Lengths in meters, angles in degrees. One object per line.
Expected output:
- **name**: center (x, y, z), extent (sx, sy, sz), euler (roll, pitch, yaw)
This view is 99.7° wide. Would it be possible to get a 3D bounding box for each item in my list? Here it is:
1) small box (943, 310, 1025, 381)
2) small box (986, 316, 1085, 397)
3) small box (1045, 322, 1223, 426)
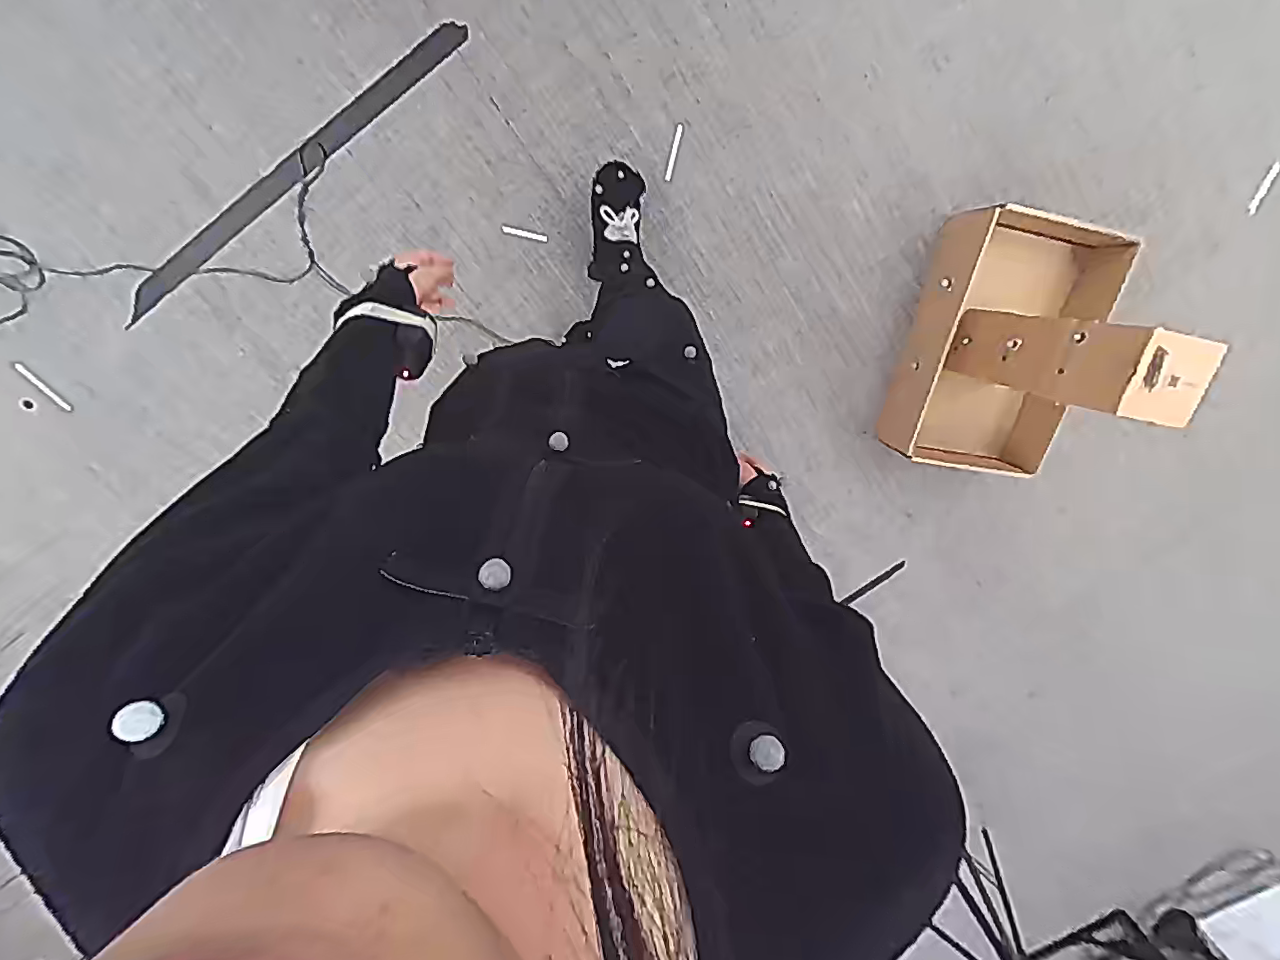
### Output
- **small box**: center (0.934, -0.336, 1.393), extent (0.179, 0.176, 0.168), euler (11, 109, -11)
- **small box**: center (0.954, -0.277, 1.244), extent (0.179, 0.176, 0.168), euler (10, 109, -10)
- **small box**: center (0.978, -0.220, 1.091), extent (0.179, 0.176, 0.168), euler (8, 109, -11)
